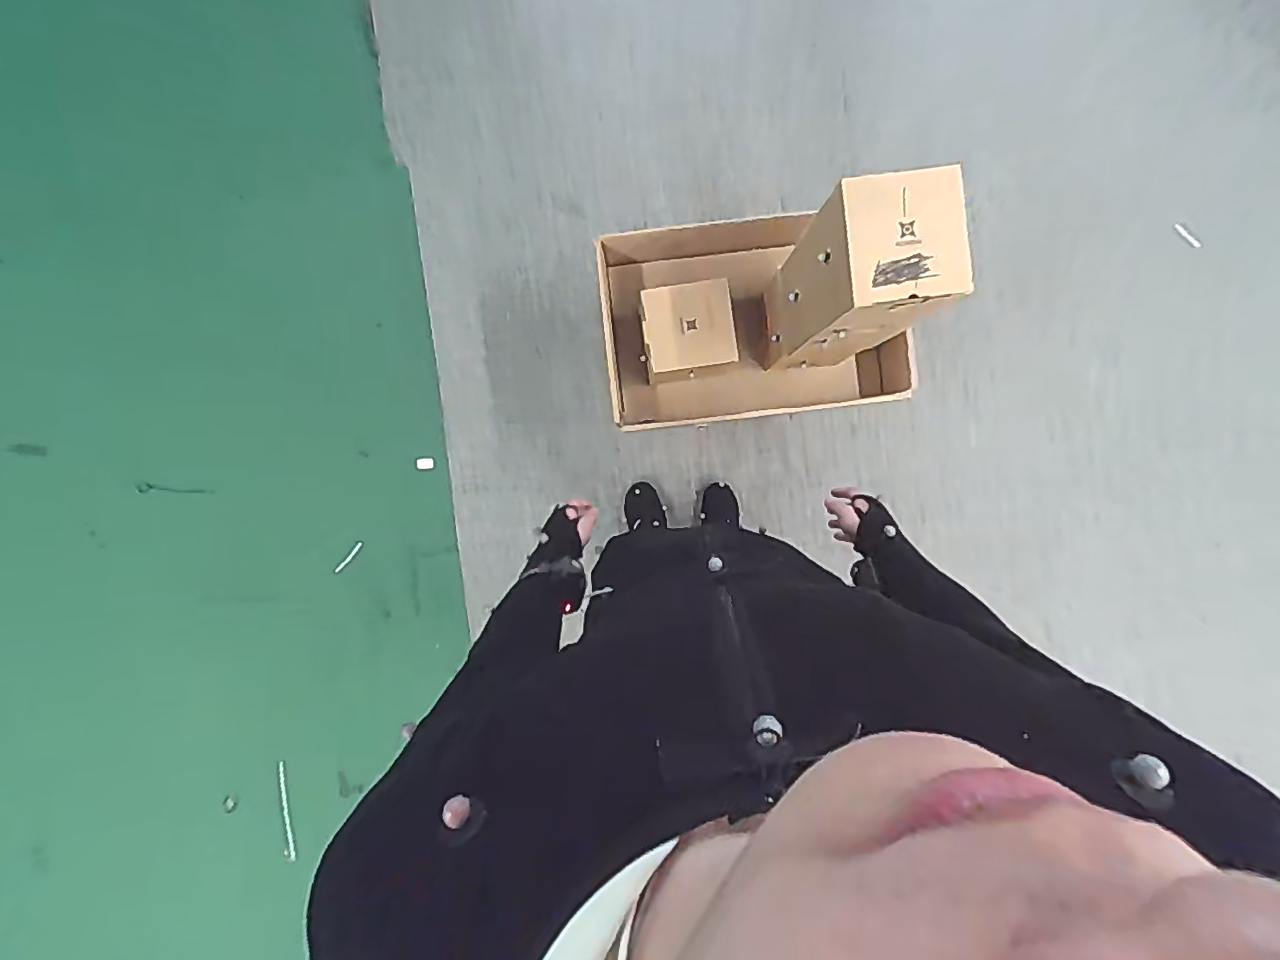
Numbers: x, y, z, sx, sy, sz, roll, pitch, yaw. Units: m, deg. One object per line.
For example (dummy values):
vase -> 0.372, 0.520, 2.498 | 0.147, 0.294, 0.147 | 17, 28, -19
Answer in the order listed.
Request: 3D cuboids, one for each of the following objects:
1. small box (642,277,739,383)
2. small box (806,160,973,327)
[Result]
small box -> 0.098, -0.306, 1.134 | 0.179, 0.176, 0.168 | -7, 91, -1
small box -> 0.358, -0.335, 0.803 | 0.168, 0.176, 0.179 | -7, 90, 0
